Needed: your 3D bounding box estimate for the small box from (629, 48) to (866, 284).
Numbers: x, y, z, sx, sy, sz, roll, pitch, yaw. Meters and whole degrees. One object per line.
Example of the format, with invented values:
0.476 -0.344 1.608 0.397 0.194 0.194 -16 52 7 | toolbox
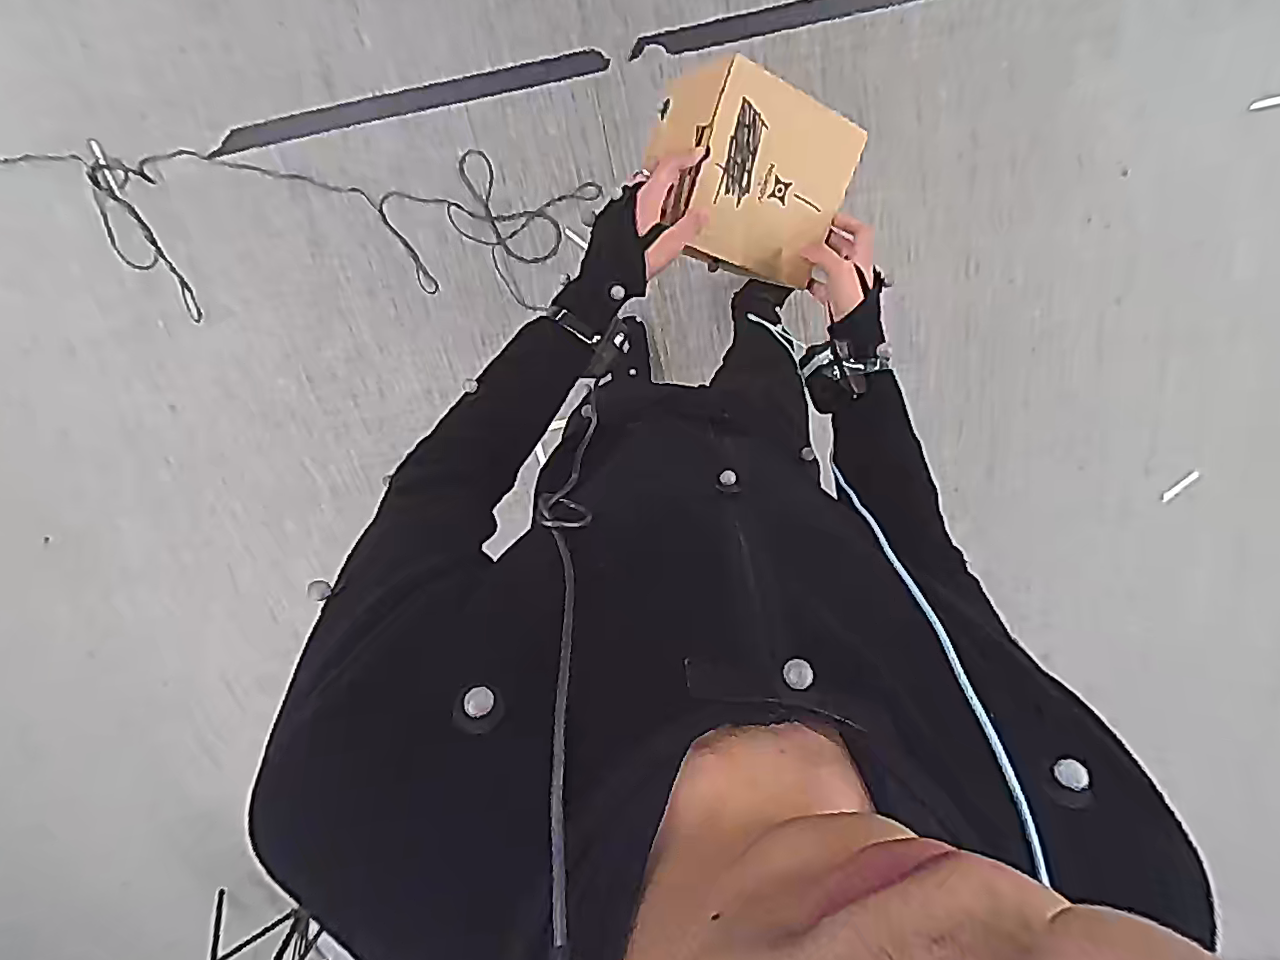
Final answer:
0.107 -0.341 0.618 0.179 0.176 0.168 9 113 -27 | small box
